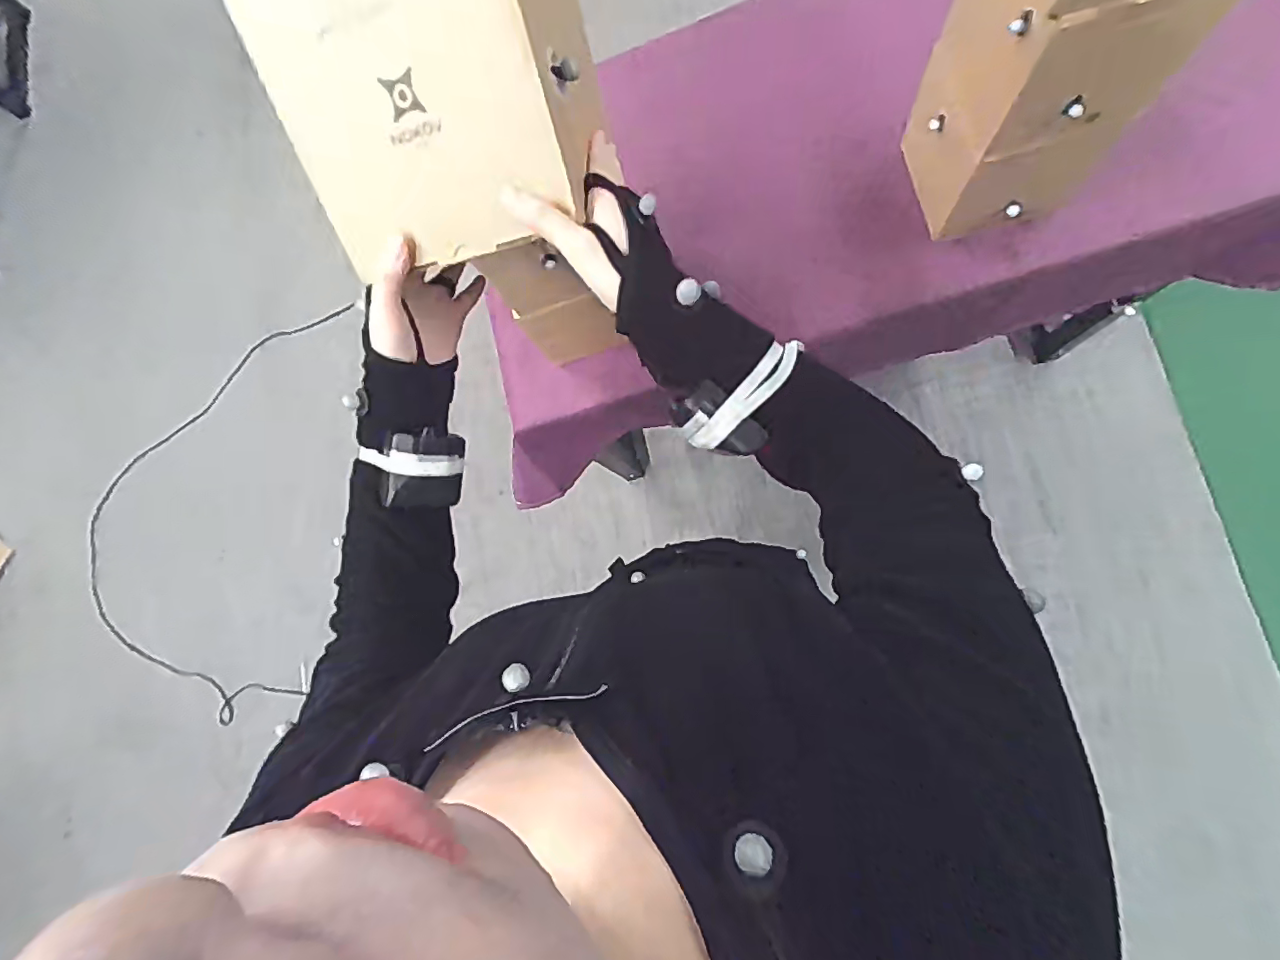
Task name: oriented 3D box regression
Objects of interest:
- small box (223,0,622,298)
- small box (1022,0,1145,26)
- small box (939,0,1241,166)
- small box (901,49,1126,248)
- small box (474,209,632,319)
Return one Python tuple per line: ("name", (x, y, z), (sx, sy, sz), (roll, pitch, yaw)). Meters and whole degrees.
("small box", (-0.120, -0.251, 0.381), (0.168, 0.176, 0.179), (-8, 121, 14))
("small box", (0.400, -0.491, 0.390), (0.179, 0.176, 0.168), (-11, 80, 9))
("small box", (0.434, -0.469, 0.549), (0.168, 0.176, 0.179), (-13, 80, 9))
("small box", (0.464, -0.444, 0.707), (0.168, 0.176, 0.179), (-13, 79, 10))
("small box", (-0.116, -0.319, 0.637), (0.179, 0.176, 0.168), (-18, 78, 8))
